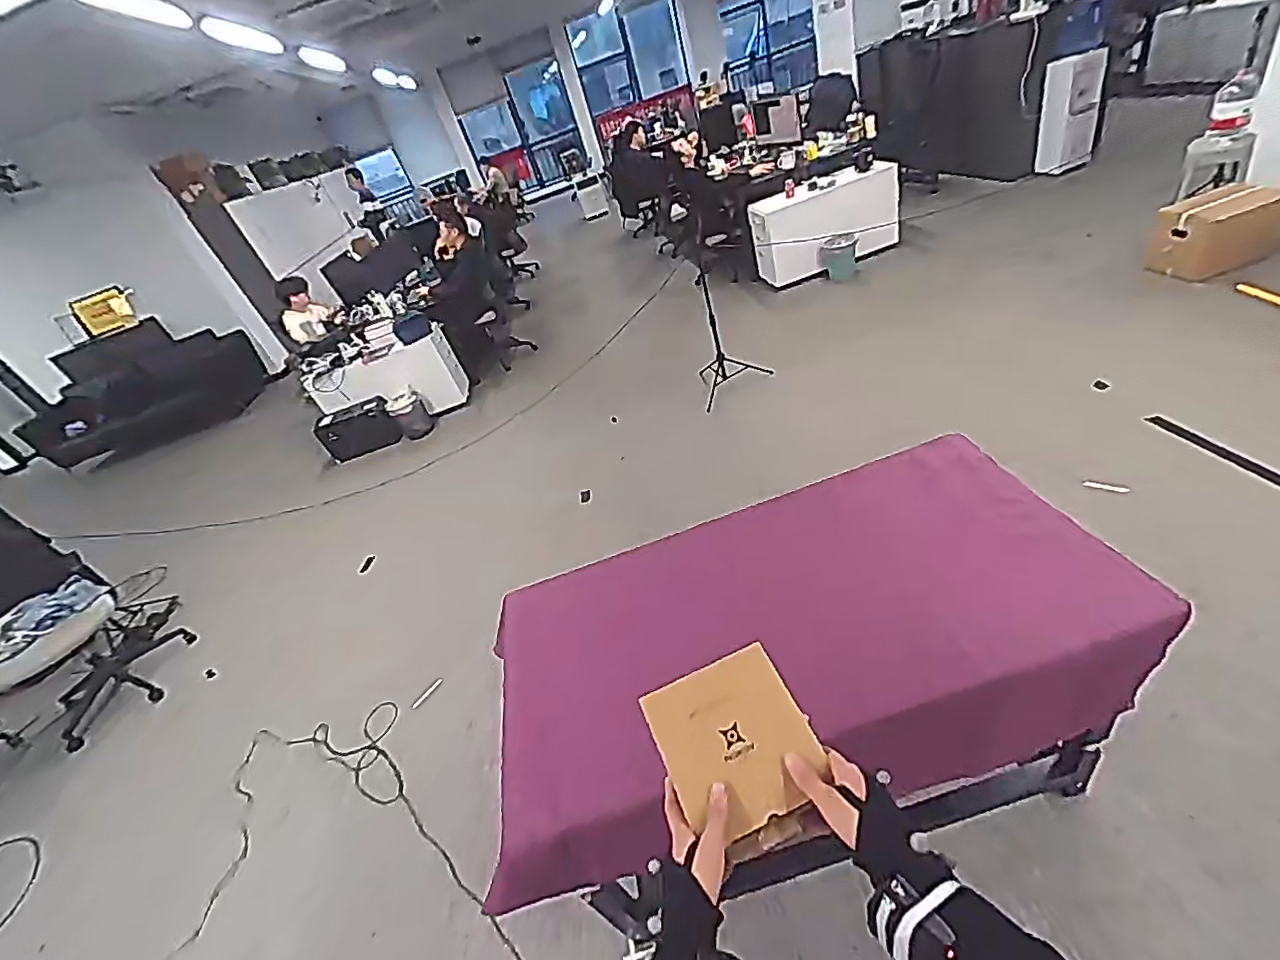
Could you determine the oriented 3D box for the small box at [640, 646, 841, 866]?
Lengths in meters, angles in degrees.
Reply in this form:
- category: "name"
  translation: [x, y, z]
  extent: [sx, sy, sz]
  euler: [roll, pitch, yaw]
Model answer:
- category: "small box"
  translation: [0.117, 0.340, 0.659]
  extent: [0.168, 0.176, 0.179]
  euler: [-22, 49, -8]
